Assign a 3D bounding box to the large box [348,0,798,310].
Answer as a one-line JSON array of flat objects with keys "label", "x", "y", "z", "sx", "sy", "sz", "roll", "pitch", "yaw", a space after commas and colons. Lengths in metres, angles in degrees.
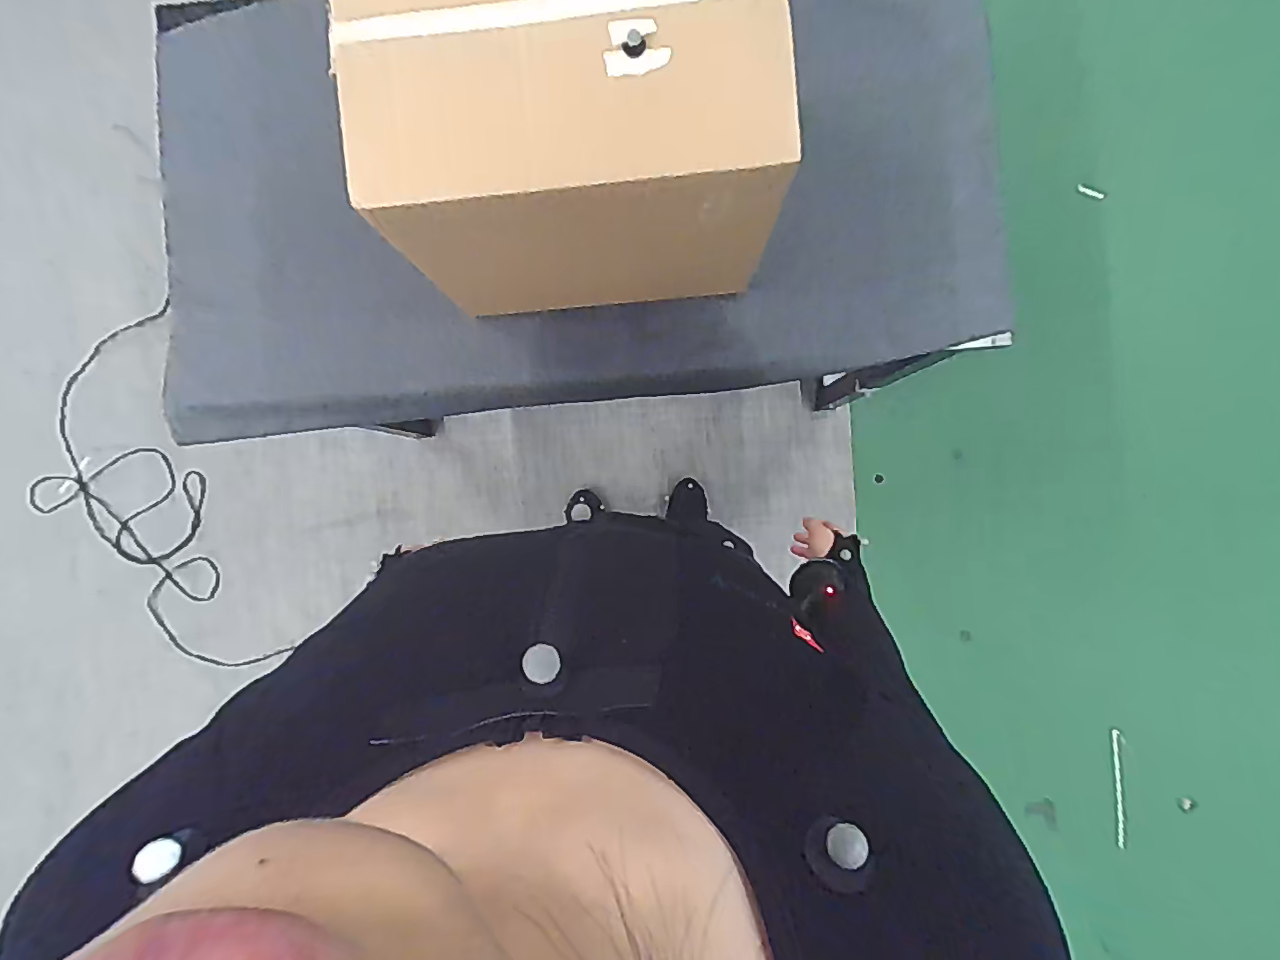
[{"label": "large box", "x": -0.067, "y": -0.421, "z": 0.642, "sx": 0.408, "sy": 0.320, "sz": 0.320, "roll": -6, "pitch": 90, "yaw": 1}]
